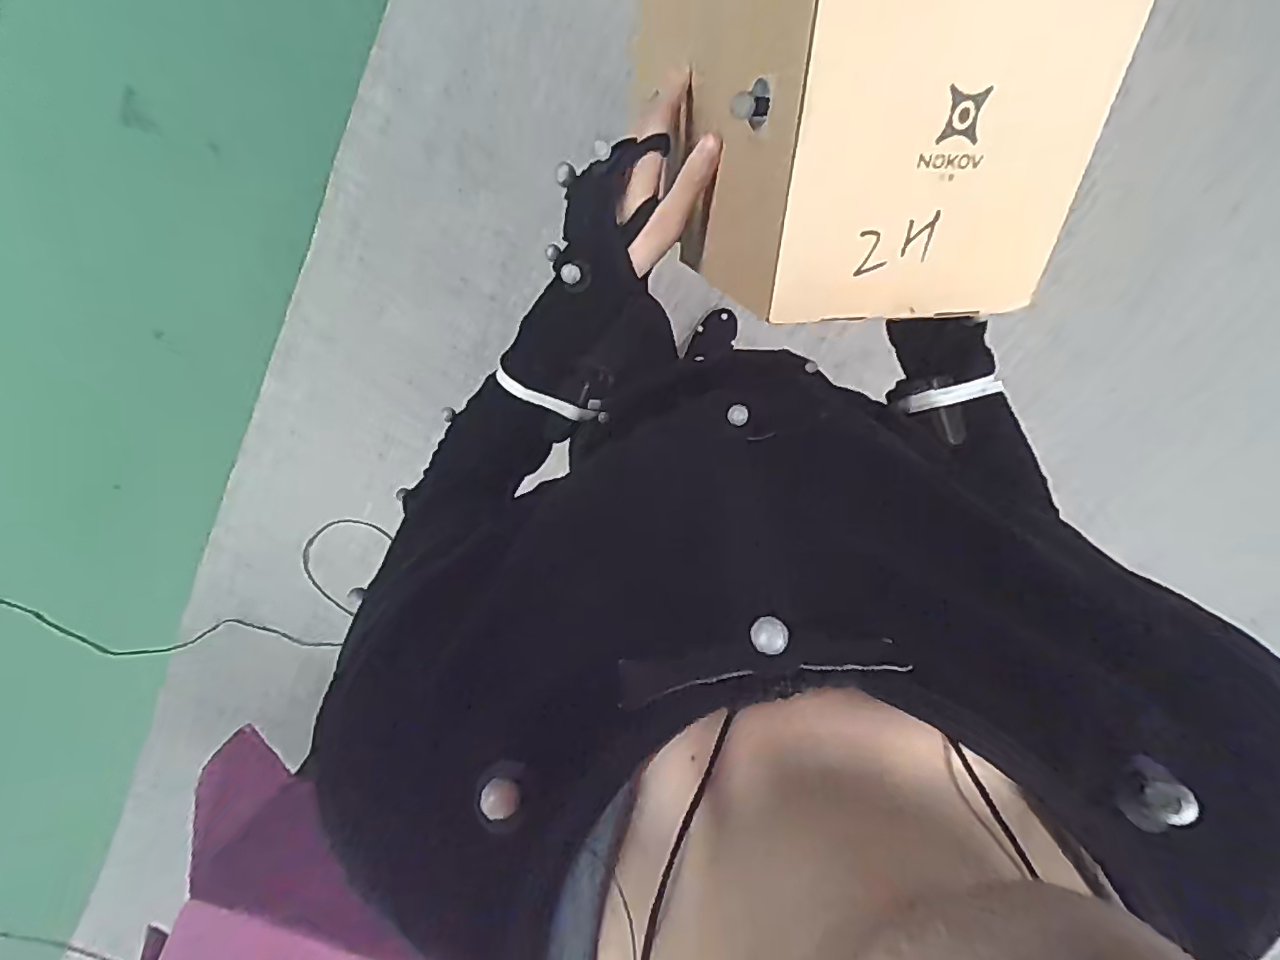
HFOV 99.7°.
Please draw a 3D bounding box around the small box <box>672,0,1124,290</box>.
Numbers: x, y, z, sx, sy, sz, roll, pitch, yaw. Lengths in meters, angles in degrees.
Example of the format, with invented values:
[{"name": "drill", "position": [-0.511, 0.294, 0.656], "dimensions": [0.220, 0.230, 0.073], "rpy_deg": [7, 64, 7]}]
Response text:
[{"name": "small box", "position": [0.122, -0.221, 0.320], "dimensions": [0.168, 0.176, 0.179], "rpy_deg": [-4, 124, -12]}]
